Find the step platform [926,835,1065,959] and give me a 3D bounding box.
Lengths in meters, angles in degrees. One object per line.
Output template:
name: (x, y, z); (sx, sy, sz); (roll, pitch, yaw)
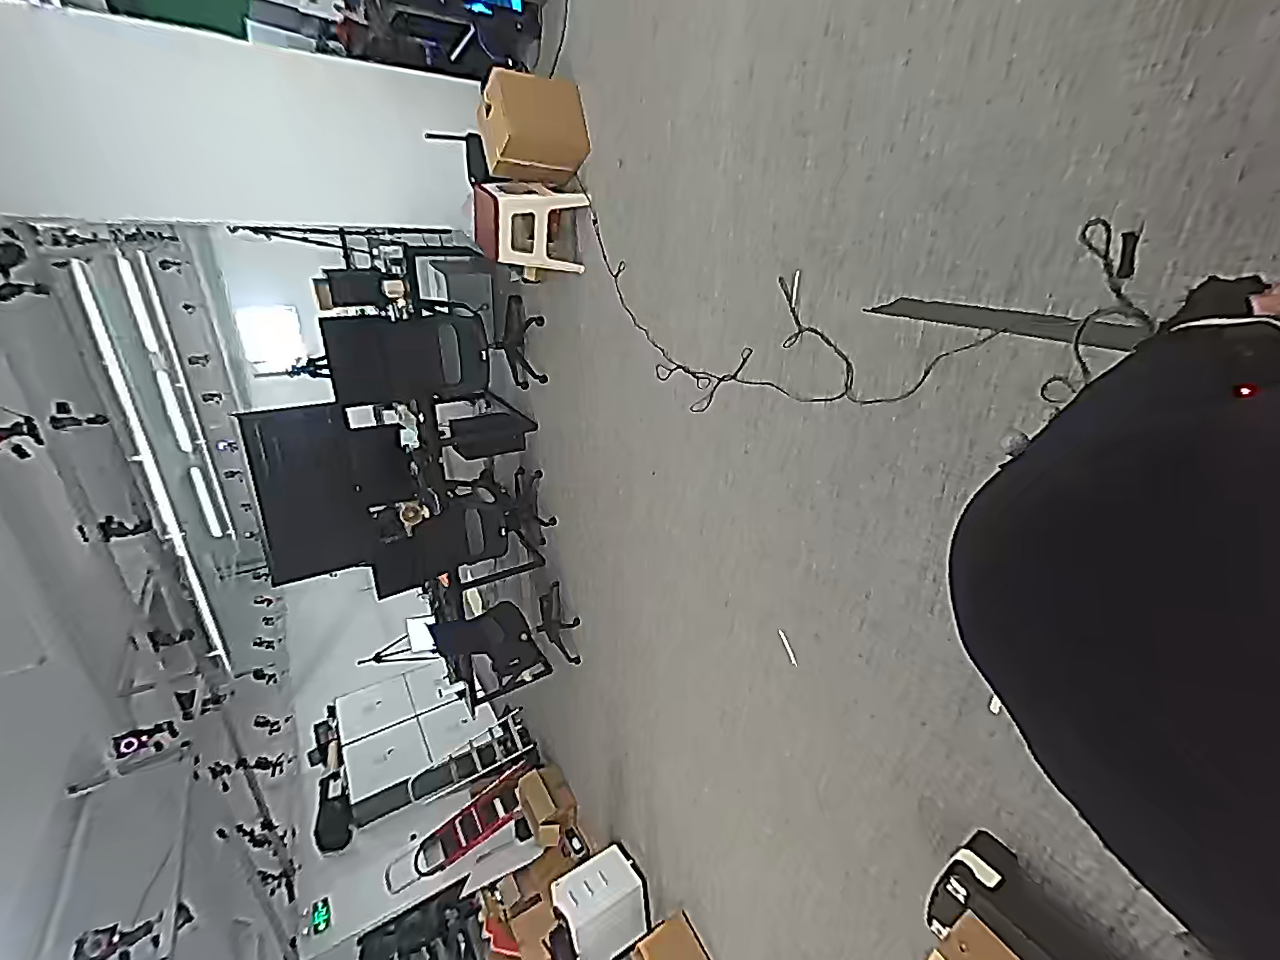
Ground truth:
step platform: (1.089, 1.292, 1.352); (0.684, 0.204, 0.286); (32, 129, 49)
